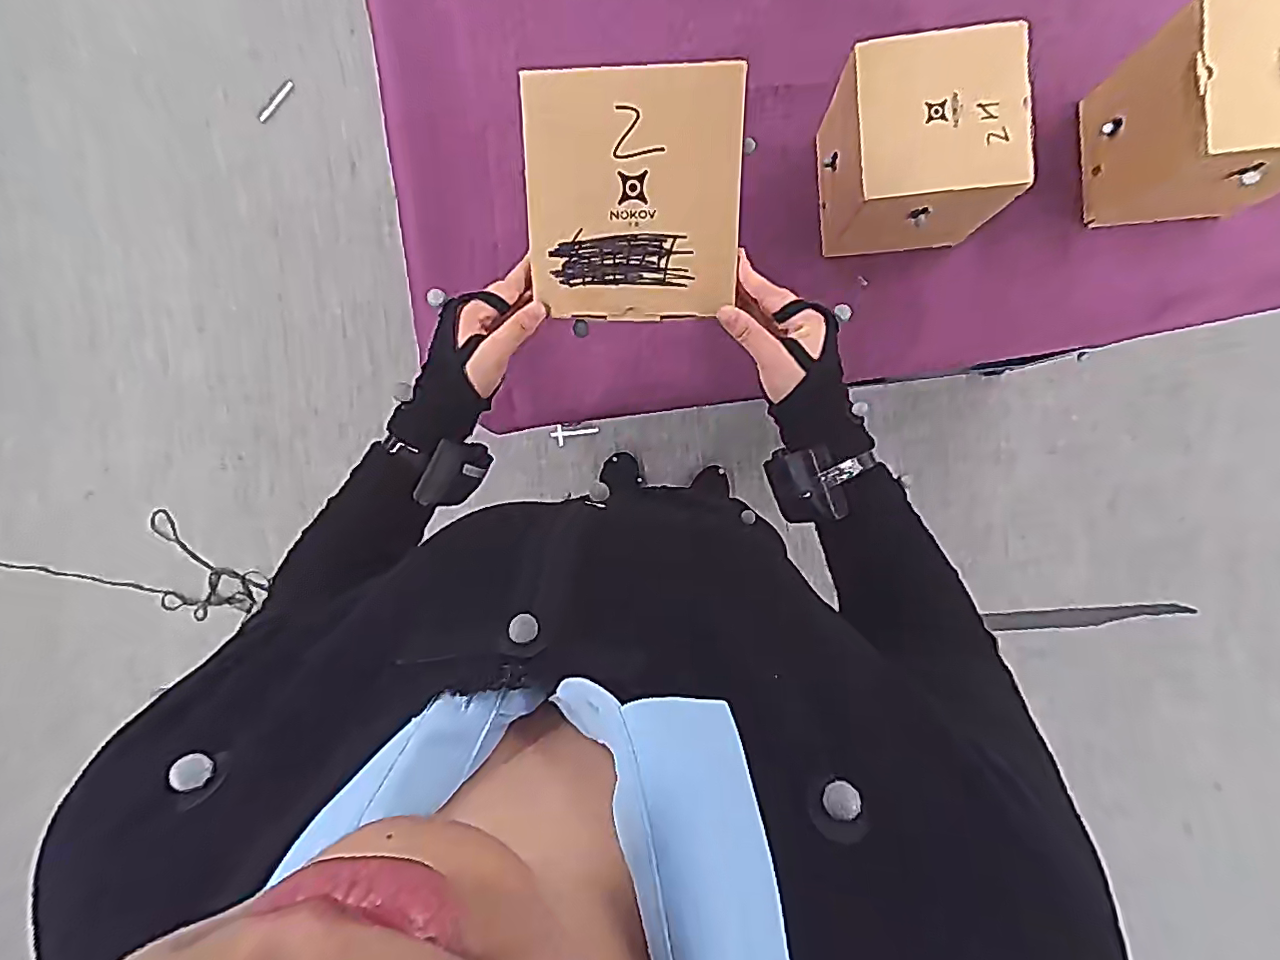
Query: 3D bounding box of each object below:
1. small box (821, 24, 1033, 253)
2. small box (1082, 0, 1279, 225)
[{"bbox_3d":[0.321,-0.383,0.641,0.179,0.176,0.168,-3,93,4],"label":"small box"},{"bbox_3d":[0.655,-0.412,0.615,0.179,0.176,0.168,-3,91,5],"label":"small box"}]
